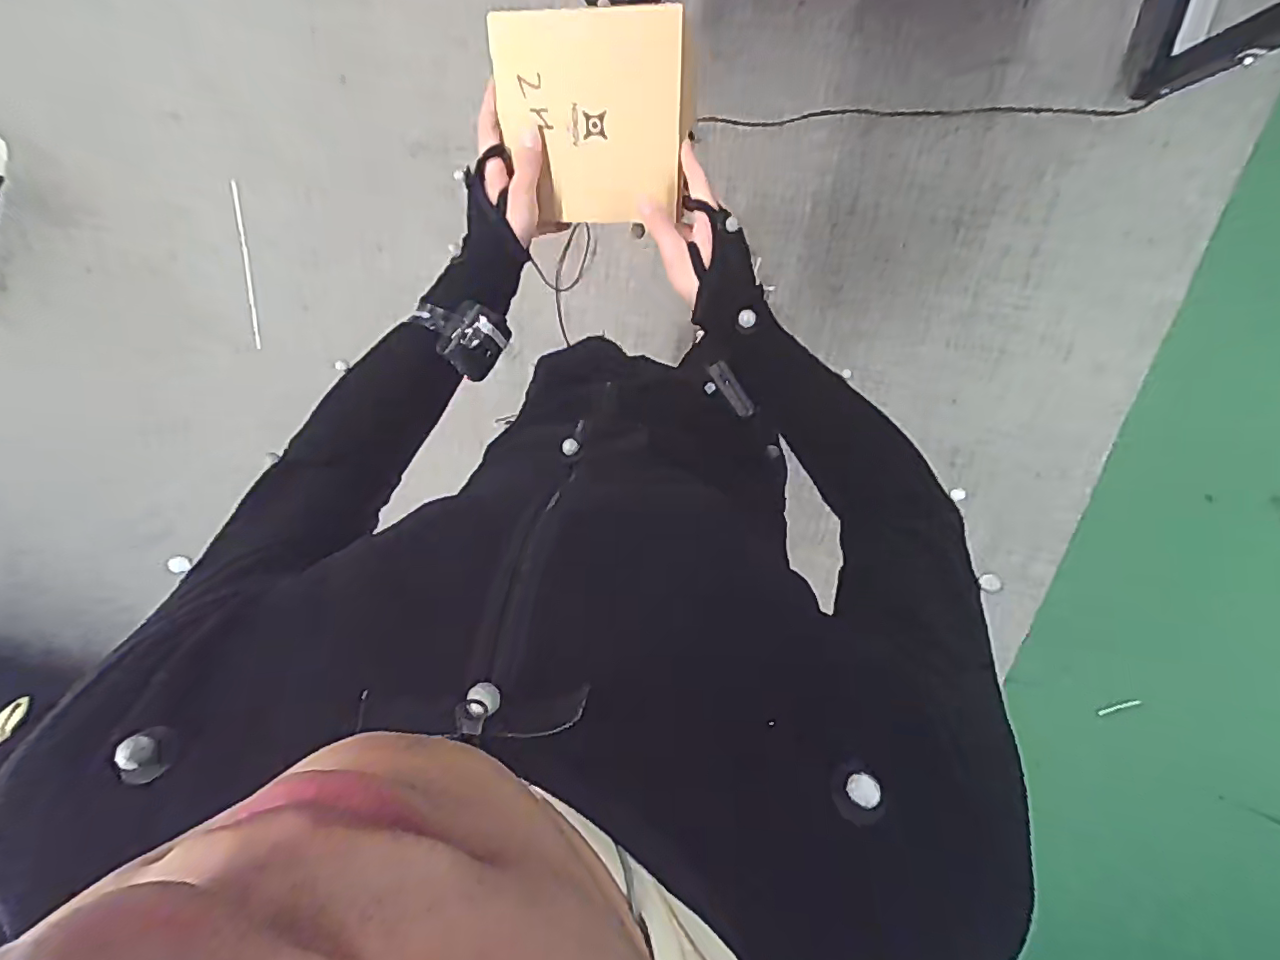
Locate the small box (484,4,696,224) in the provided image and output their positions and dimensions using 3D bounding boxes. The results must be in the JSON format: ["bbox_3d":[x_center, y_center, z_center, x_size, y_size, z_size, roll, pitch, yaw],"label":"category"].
[{"bbox_3d":[-0.037,-0.364,0.558,0.179,0.176,0.168,5,120,9],"label":"small box"}]
